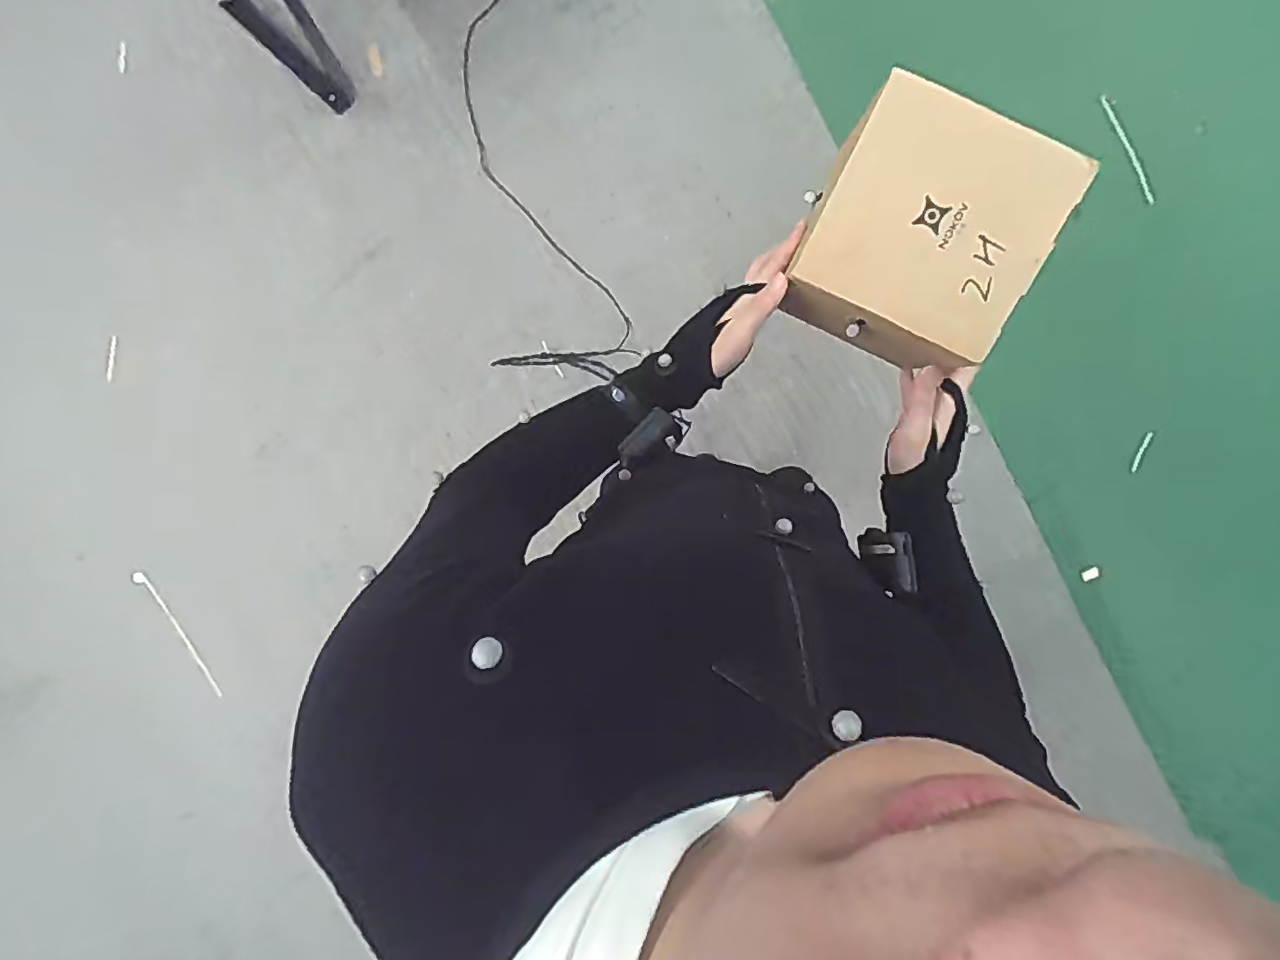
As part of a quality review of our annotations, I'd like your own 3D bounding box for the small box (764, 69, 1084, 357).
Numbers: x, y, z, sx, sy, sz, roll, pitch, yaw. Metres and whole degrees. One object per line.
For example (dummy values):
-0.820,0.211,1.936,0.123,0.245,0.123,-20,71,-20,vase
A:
0.234,-0.221,0.504,0.179,0.176,0.168,25,102,-1,small box
